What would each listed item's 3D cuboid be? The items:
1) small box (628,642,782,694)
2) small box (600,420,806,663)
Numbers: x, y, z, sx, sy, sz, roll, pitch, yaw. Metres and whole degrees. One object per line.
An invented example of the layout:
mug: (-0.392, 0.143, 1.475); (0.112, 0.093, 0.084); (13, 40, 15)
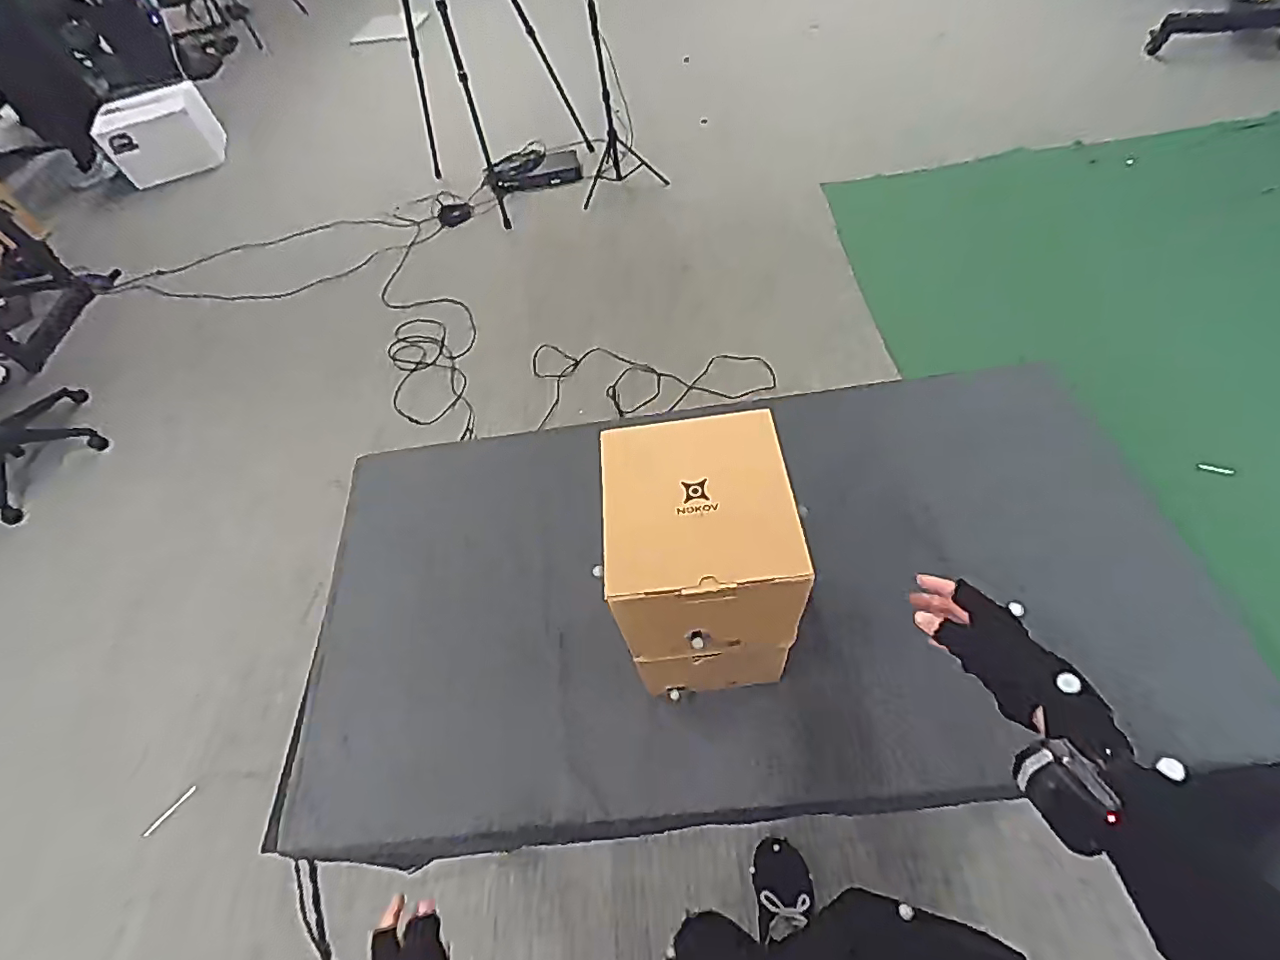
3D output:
small box: (0.075, 0.157, 0.676); (0.168, 0.176, 0.179); (-8, 54, 3)
small box: (0.055, 0.067, 0.543); (0.168, 0.176, 0.179); (-8, 55, 4)
